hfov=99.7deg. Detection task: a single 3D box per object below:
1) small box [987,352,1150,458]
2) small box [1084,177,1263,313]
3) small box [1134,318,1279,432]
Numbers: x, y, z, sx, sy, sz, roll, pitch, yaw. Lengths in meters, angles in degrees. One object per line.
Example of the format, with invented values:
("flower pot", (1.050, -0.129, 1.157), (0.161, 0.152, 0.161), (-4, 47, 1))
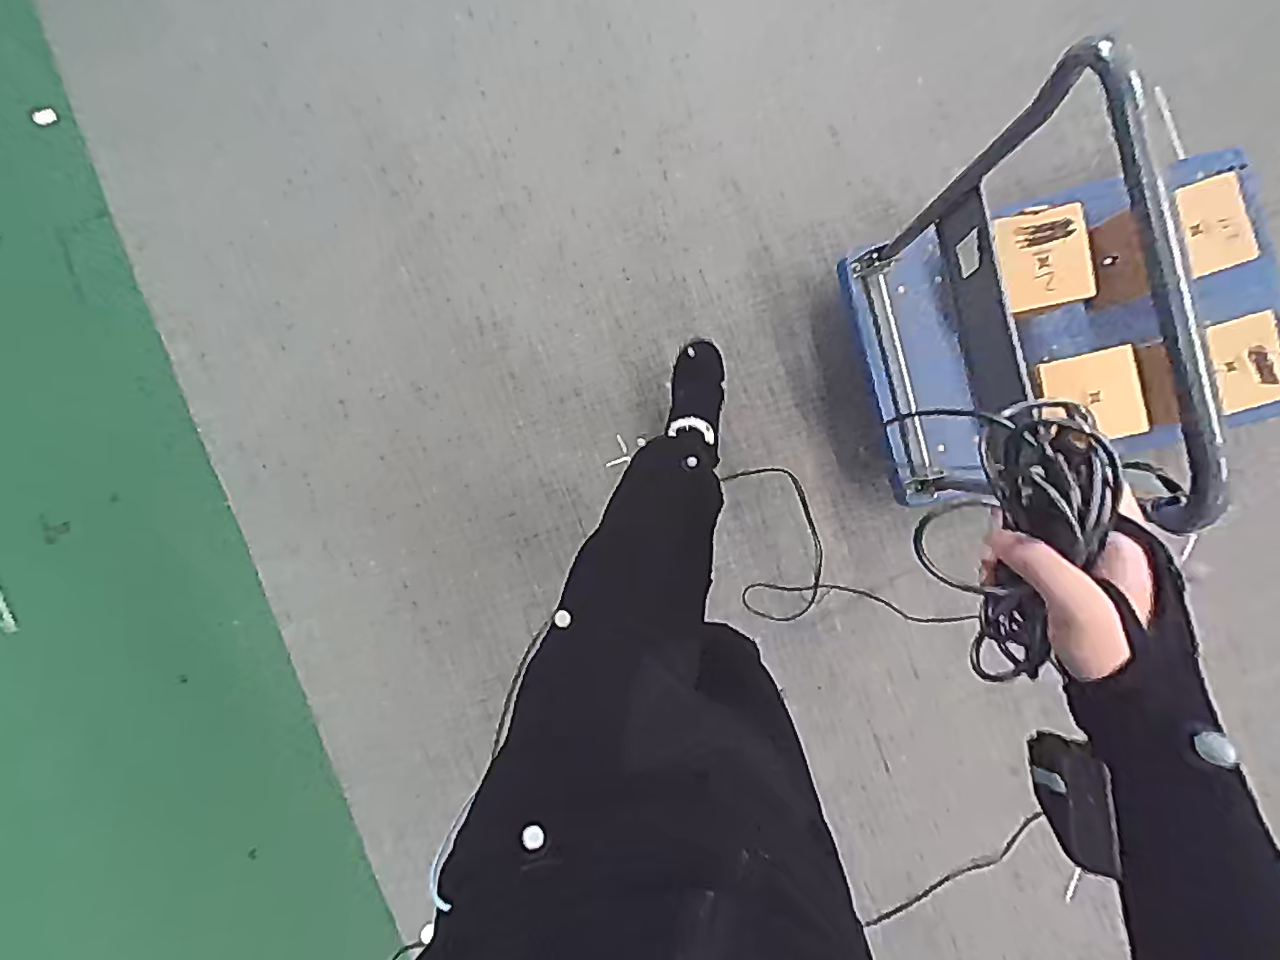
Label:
("small box", (0.834, -0.142, 1.068), (0.179, 0.176, 0.168), (-13, 91, 3))
("small box", (1.017, -0.444, 1.053), (0.179, 0.176, 0.168), (-18, 92, 2))
("small box", (1.085, -0.196, 1.057), (0.179, 0.176, 0.168), (-16, 90, 2))
